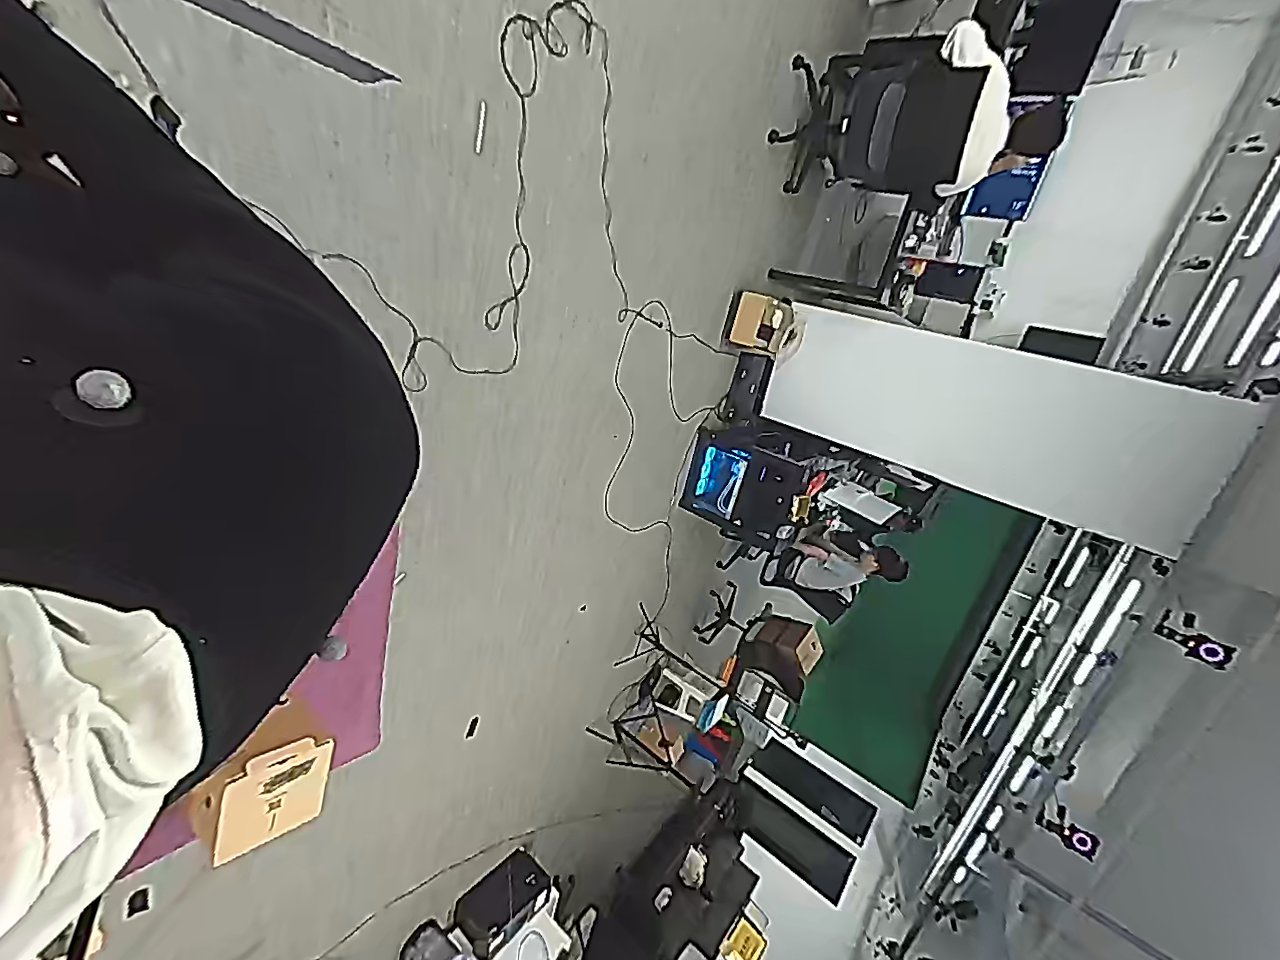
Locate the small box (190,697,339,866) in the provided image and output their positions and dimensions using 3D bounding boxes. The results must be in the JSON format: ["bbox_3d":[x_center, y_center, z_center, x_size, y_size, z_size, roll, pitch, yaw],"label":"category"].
[{"bbox_3d":[-0.668,0.515,0.960,0.168,0.176,0.179,-3,114,-55],"label":"small box"}]
